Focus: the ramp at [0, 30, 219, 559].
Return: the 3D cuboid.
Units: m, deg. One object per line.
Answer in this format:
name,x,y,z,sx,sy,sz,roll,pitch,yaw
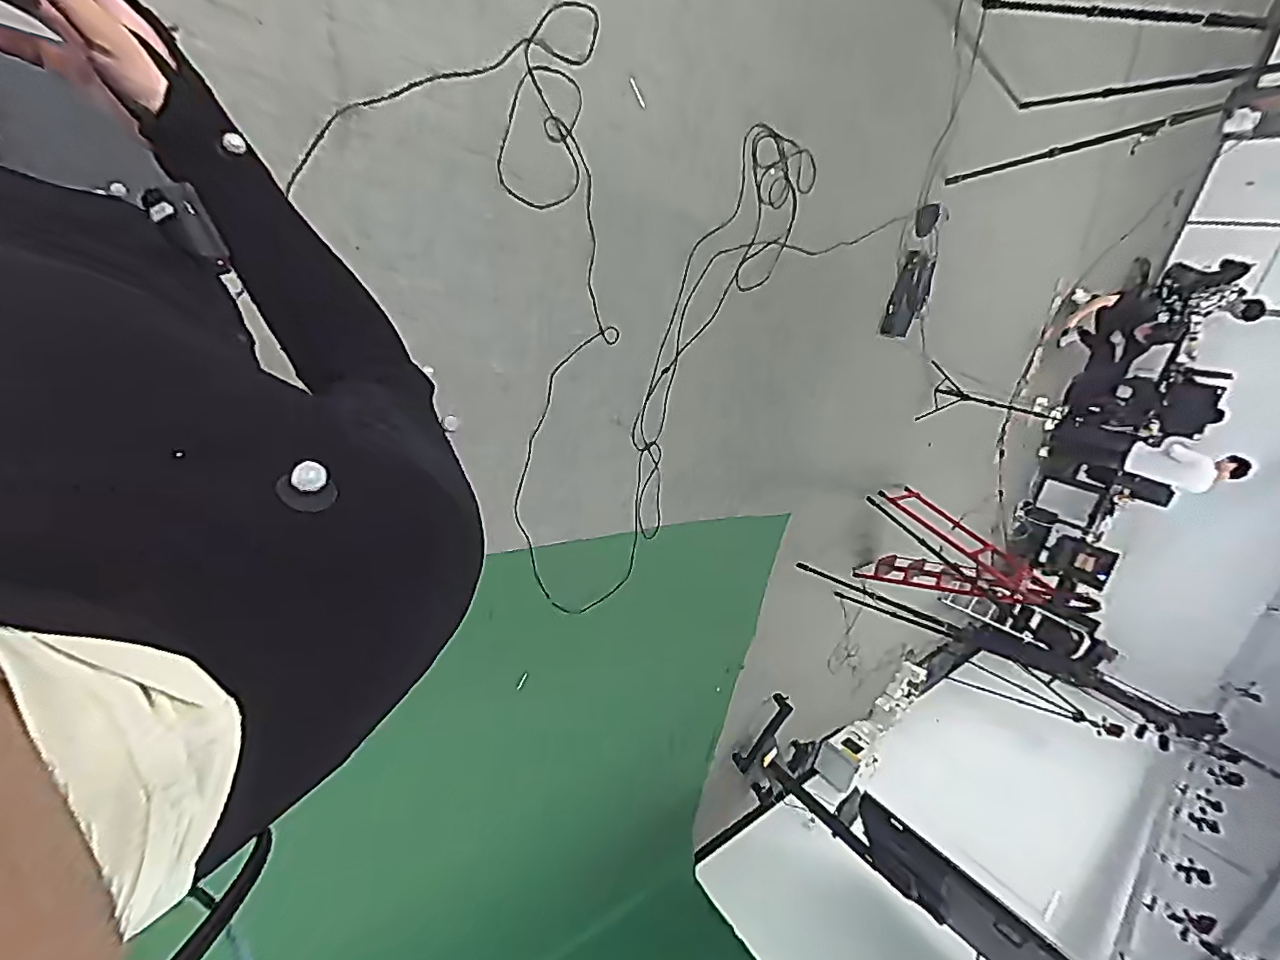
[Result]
ramp,-1.195,-0.335,1.084,0.509,0.206,0.991,-7,115,-38
